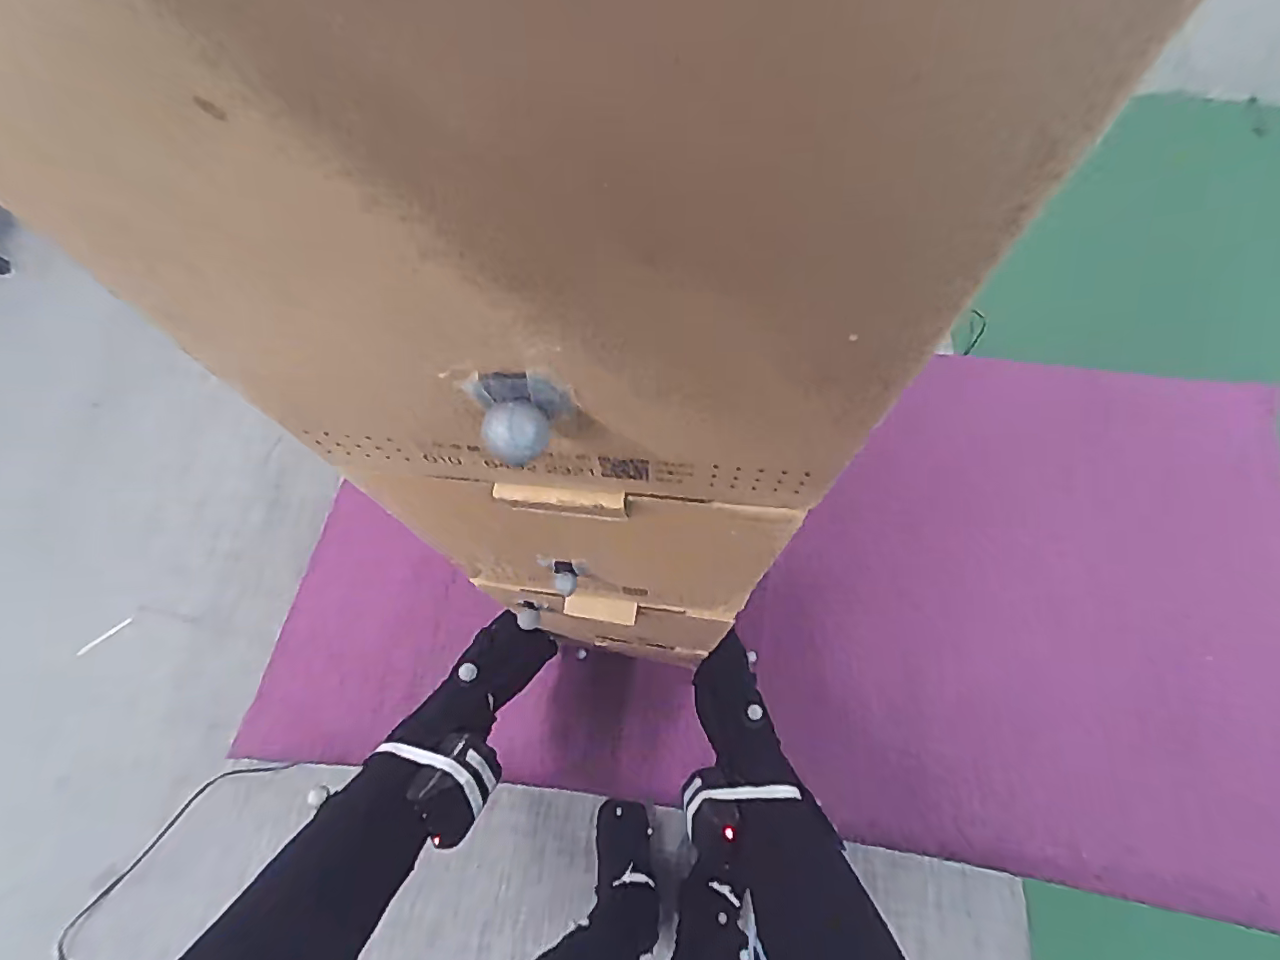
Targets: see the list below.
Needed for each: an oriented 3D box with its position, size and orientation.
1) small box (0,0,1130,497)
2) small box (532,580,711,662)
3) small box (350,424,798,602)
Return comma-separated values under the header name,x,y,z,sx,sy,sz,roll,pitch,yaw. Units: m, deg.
name,x,y,z,sx,sy,sz,roll,pitch,yaw
small box,-0.018,-0.113,0.148,0.168,0.176,0.179,5,67,4
small box,-0.003,0.094,0.594,0.168,0.176,0.179,9,67,6
small box,-0.014,-0.044,0.298,0.168,0.176,0.179,6,66,4
